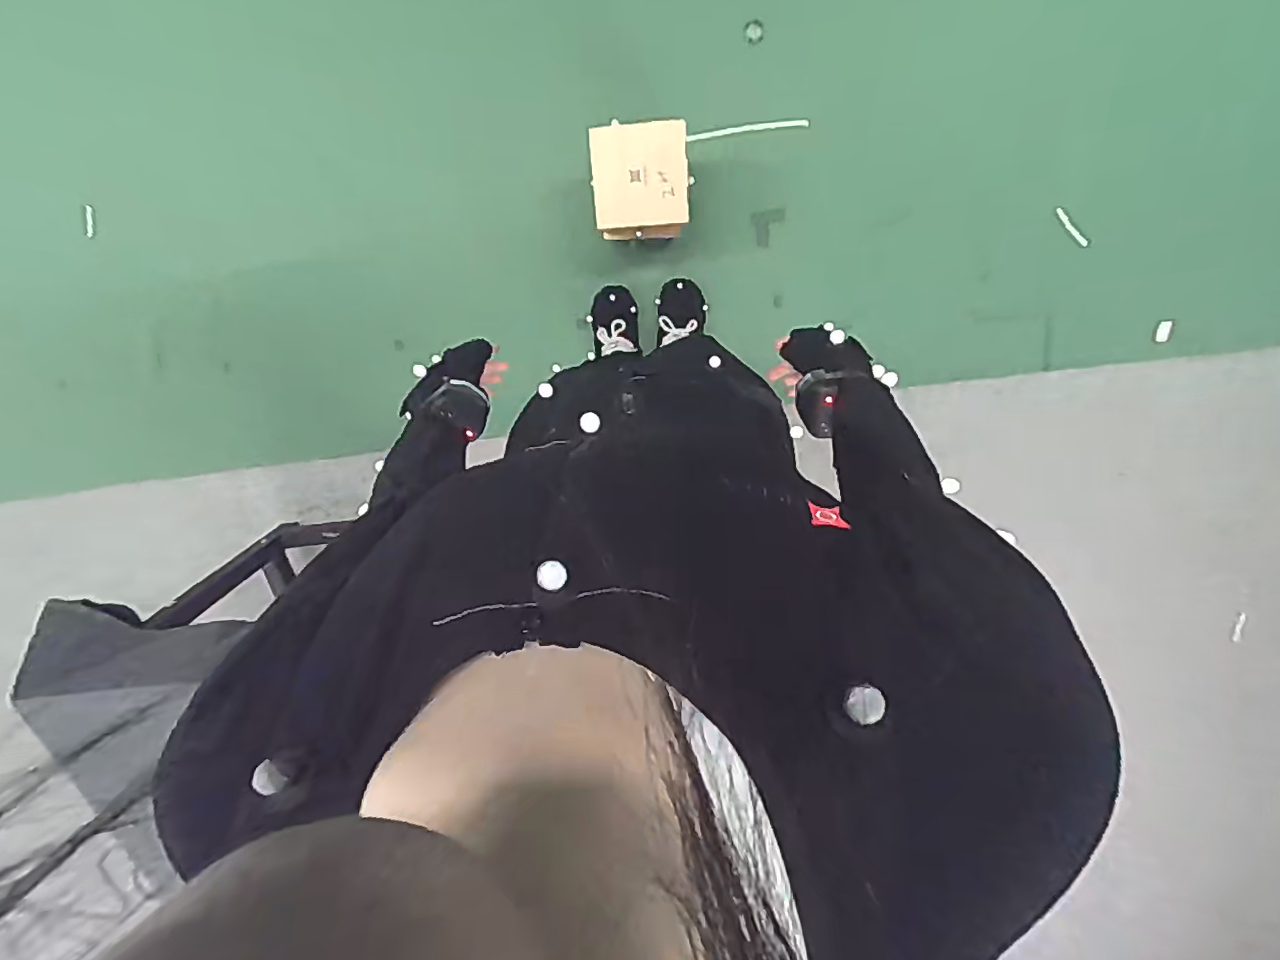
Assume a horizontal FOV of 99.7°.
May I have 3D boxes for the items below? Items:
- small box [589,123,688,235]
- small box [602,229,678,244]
[{"bbox_3d":[0.003,-0.577,1.055,0.179,0.176,0.168,-3,112,3],"label":"small box"},{"bbox_3d":[0.003,-0.627,1.211,0.168,0.176,0.179,-1,111,3],"label":"small box"}]
